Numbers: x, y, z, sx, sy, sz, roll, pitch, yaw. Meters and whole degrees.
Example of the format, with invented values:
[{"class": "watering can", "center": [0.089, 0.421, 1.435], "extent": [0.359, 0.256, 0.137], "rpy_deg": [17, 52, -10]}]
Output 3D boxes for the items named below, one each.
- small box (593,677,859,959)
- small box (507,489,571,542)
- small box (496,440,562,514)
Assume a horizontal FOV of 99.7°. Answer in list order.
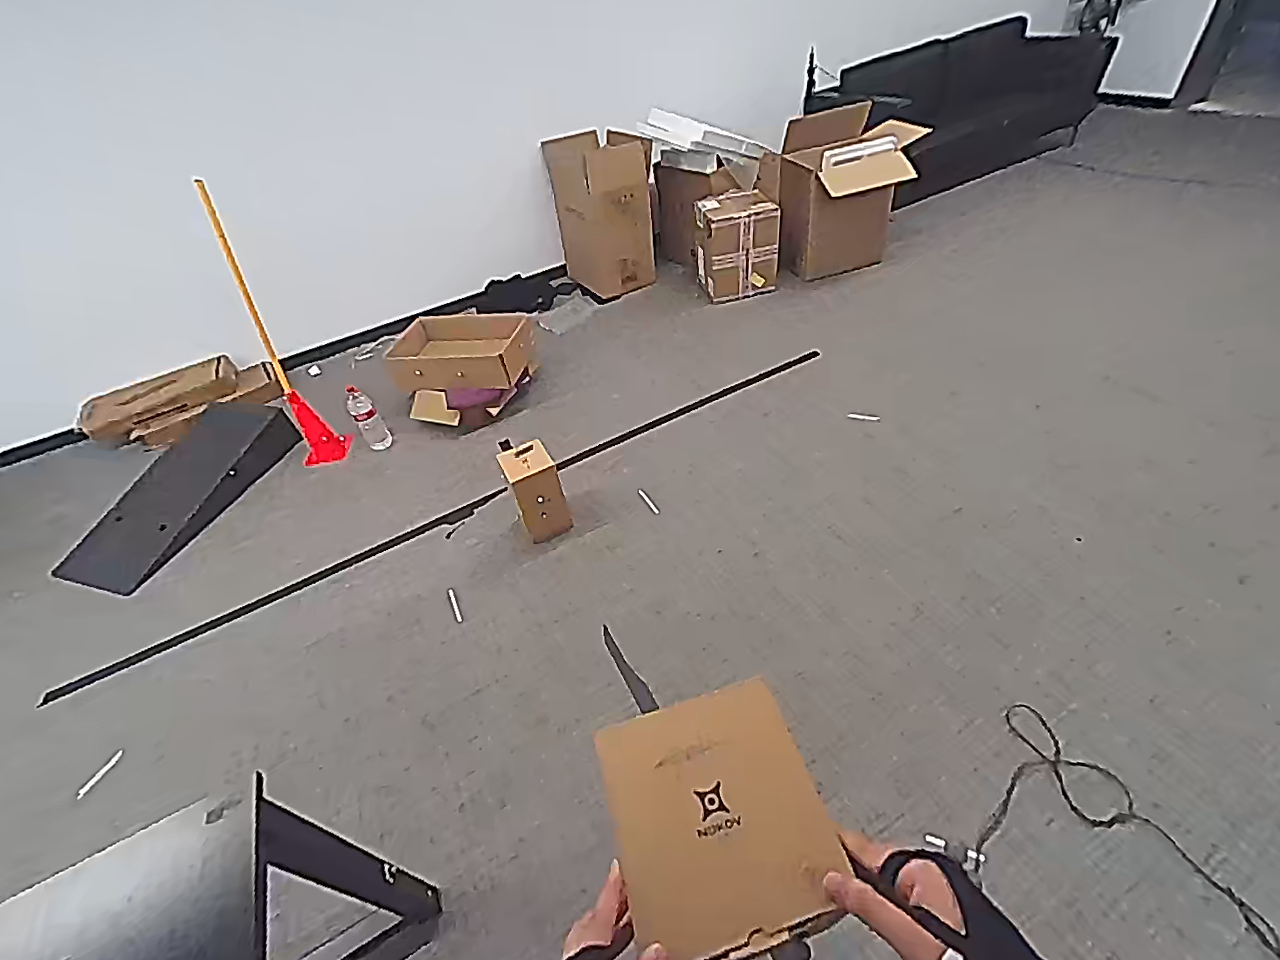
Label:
[{"class": "small box", "center": [0.067, 0.315, 0.489], "extent": [0.168, 0.176, 0.179], "rpy_deg": [-16, 45, -7]}, {"class": "small box", "center": [-0.382, 0.107, 2.060], "extent": [0.179, 0.176, 0.168], "rpy_deg": [-24, 46, -16]}, {"class": "small box", "center": [-0.397, -0.009, 1.944], "extent": [0.168, 0.176, 0.179], "rpy_deg": [-24, 46, -15]}]
